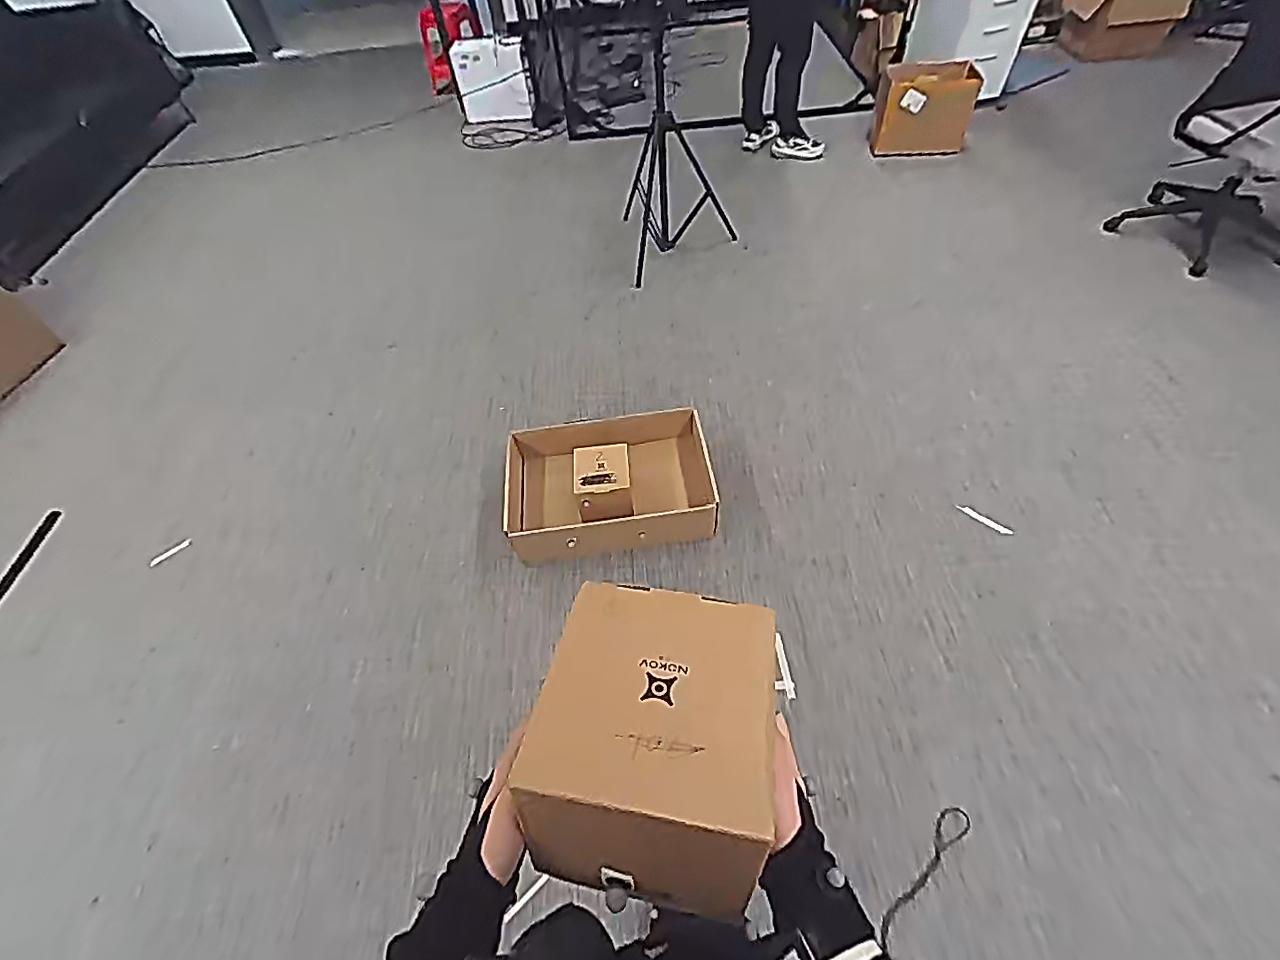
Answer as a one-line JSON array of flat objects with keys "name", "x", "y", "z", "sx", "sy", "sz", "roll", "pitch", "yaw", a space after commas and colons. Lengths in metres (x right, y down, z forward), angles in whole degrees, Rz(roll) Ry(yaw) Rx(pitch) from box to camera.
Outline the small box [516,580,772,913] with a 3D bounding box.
[{"name": "small box", "x": 0.013, "y": 0.212, "z": 0.445, "sx": 0.168, "sy": 0.176, "sz": 0.179, "roll": 6, "pitch": 38, "yaw": 8}]
